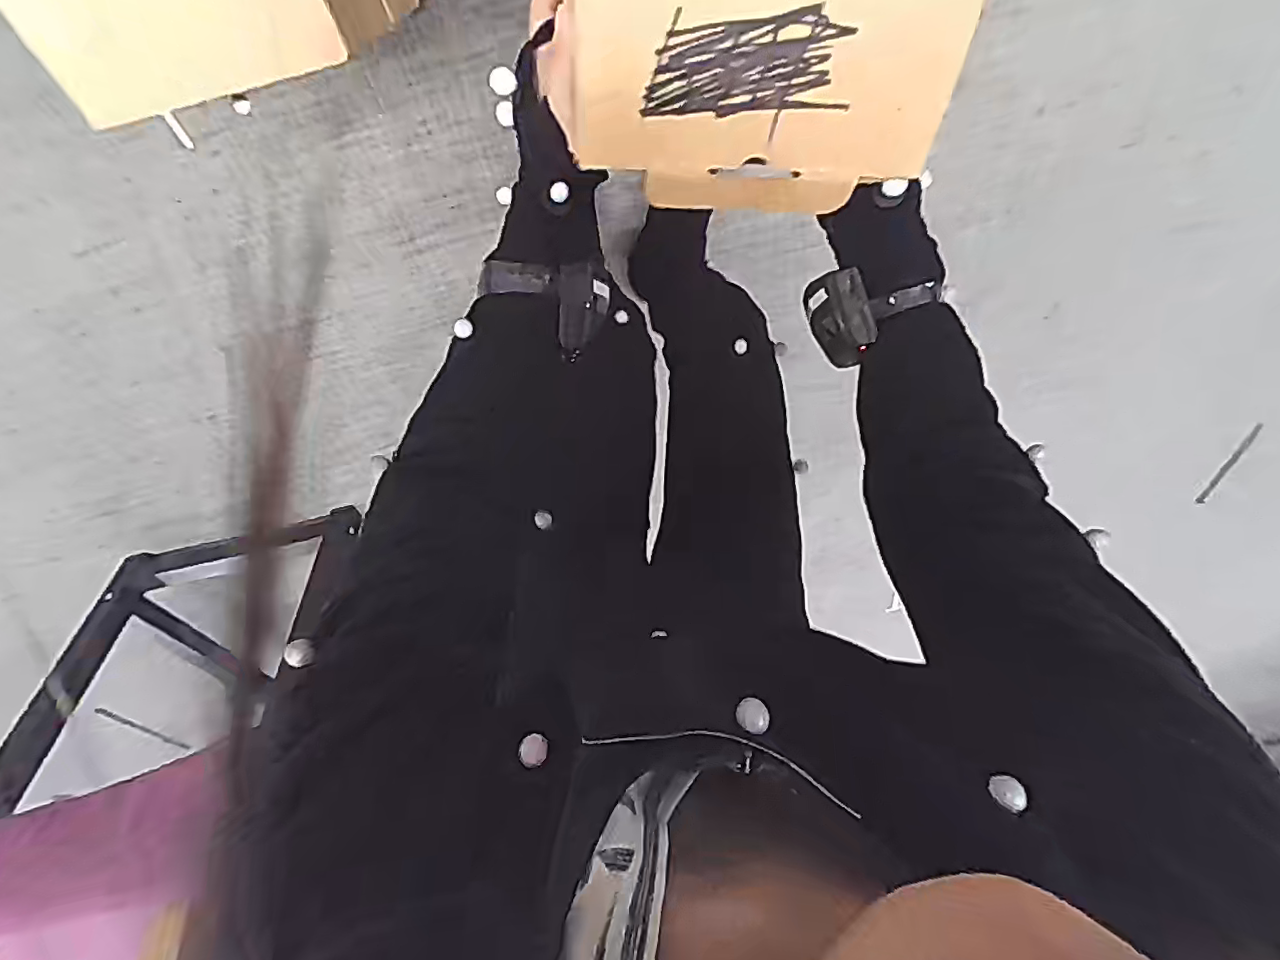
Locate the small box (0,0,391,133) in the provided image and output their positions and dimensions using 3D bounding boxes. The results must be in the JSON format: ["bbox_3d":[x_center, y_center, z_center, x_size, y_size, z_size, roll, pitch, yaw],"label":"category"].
[{"bbox_3d":[-0.287,-0.349,0.339,0.179,0.176,0.168,-14,137,1],"label":"small box"}]
